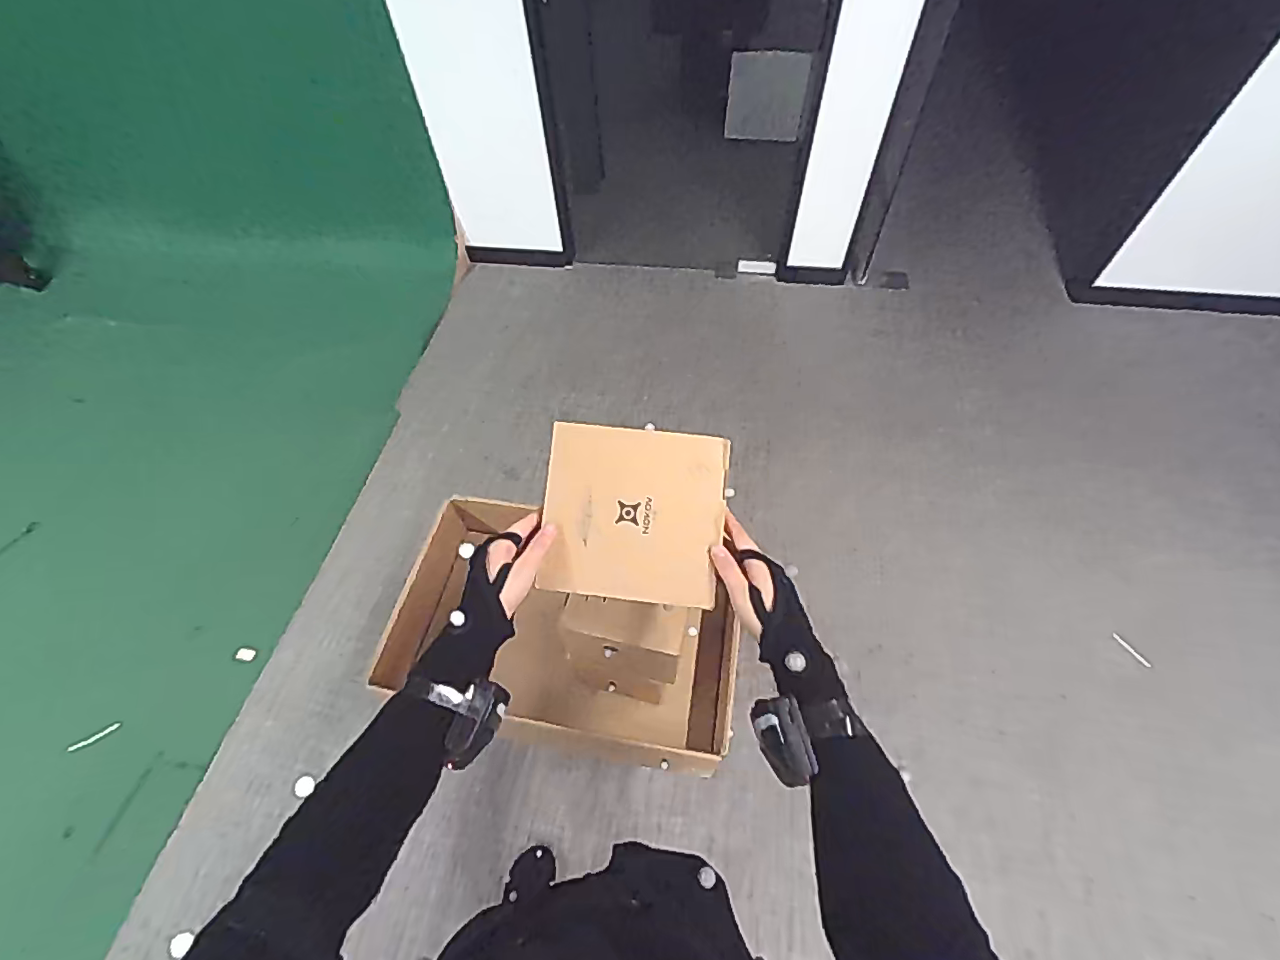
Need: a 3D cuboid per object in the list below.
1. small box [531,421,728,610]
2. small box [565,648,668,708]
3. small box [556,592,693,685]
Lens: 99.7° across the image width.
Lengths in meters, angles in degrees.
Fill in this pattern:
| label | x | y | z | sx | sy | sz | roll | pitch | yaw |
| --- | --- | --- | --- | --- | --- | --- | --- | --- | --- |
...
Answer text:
| label | x | y | z | sx | sy | sz | roll | pitch | yaw |
| --- | --- | --- | --- | --- | --- | --- | --- | --- | --- |
| small box | -0.004 | 0.040 | 0.595 | 0.179 | 0.176 | 0.168 | 6 | 84 | 5 |
| small box | -0.019 | 0.294 | 0.980 | 0.168 | 0.176 | 0.179 | 12 | 56 | 10 |
| small box | -0.011 | 0.204 | 0.842 | 0.179 | 0.176 | 0.168 | 11 | 56 | 9 |
